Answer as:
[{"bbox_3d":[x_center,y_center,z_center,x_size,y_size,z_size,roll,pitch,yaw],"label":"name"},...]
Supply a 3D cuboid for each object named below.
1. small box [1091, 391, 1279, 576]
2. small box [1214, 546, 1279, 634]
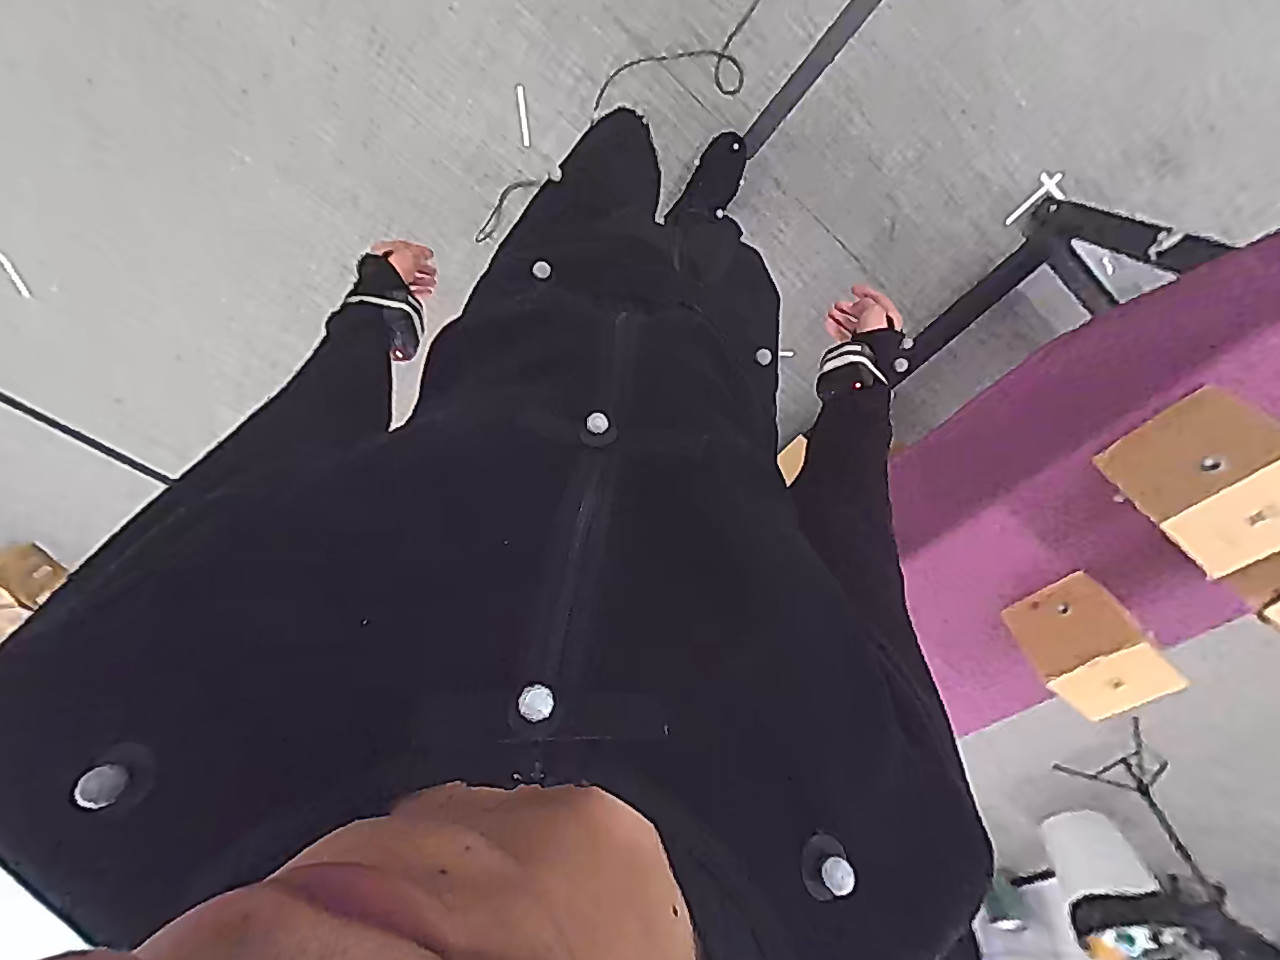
[{"bbox_3d":[0.835,0.000,0.795,0.168,0.176,0.179,34,121,-18],"label":"small box"},{"bbox_3d":[1.034,0.119,0.865,0.168,0.176,0.179,32,122,-17],"label":"small box"}]
